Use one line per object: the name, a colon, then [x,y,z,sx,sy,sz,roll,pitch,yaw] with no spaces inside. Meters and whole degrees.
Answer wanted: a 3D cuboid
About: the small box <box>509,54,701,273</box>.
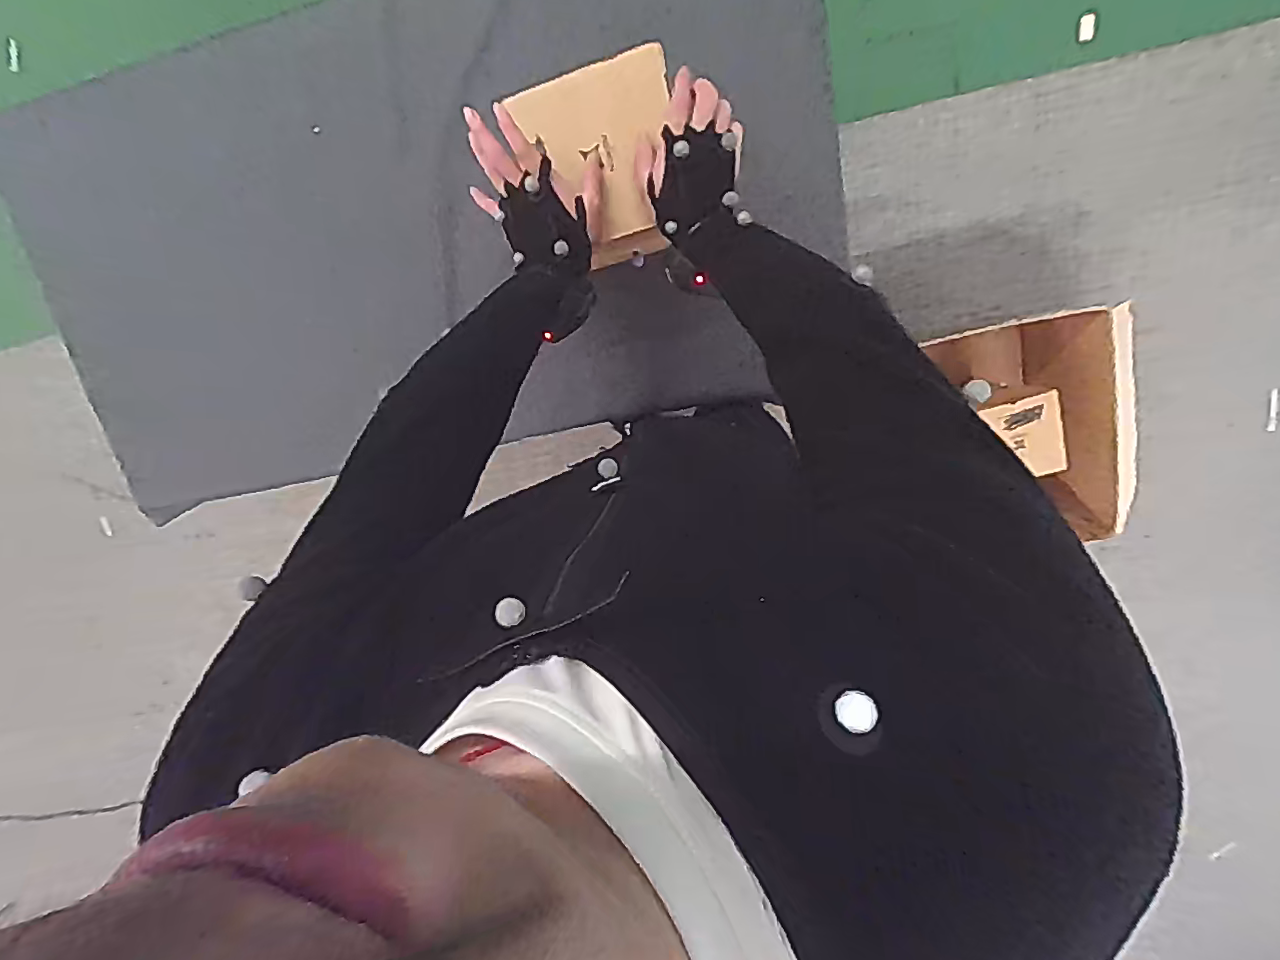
small box: [-0.030,-0.366,0.664,0.179,0.176,0.168,-15,105,11]
